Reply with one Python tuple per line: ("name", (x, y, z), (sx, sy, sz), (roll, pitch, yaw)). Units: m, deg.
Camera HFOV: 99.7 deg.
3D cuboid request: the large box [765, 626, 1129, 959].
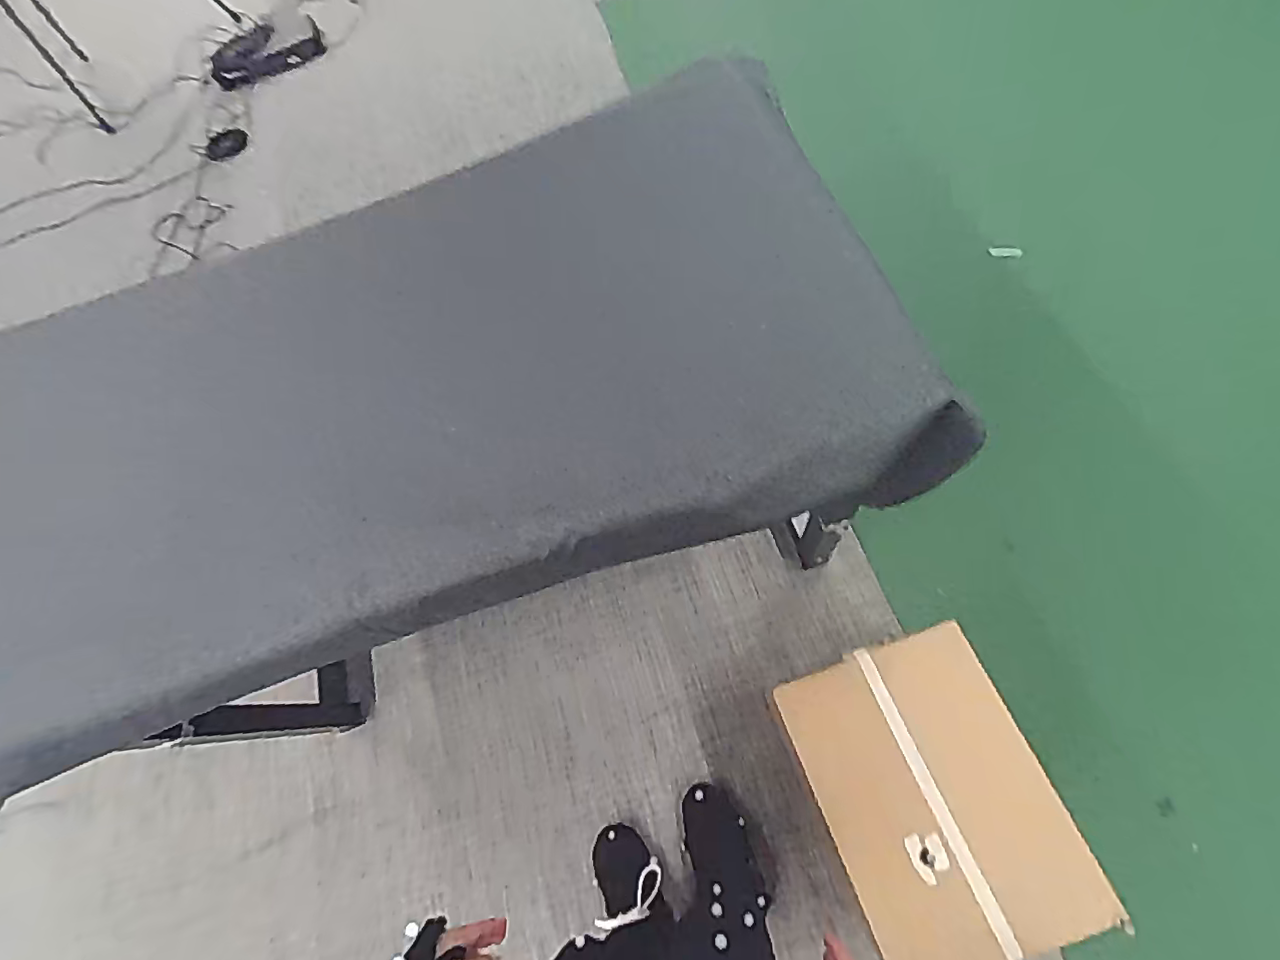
("large box", (0.442, 0.507, 0.908), (0.320, 0.320, 0.408), (-22, 65, 1))
